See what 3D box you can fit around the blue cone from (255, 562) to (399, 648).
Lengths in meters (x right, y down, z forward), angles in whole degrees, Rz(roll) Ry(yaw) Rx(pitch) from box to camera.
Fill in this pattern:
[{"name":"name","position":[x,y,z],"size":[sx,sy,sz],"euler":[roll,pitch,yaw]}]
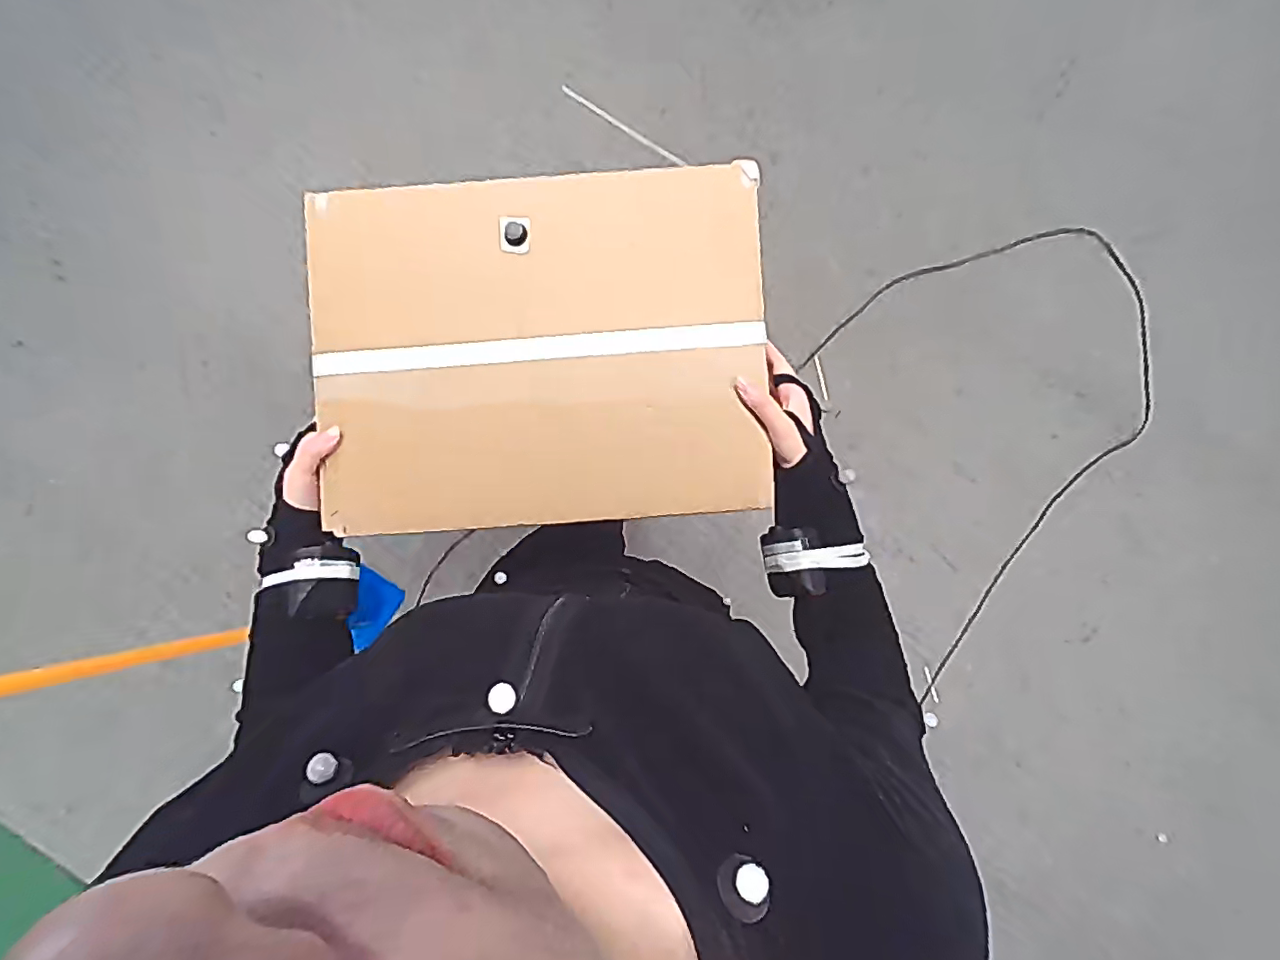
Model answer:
[{"name":"blue cone","position":[-0.763,0.320,1.275],"size":[0.193,0.380,0.192],"euler":[31,86,3]}]
